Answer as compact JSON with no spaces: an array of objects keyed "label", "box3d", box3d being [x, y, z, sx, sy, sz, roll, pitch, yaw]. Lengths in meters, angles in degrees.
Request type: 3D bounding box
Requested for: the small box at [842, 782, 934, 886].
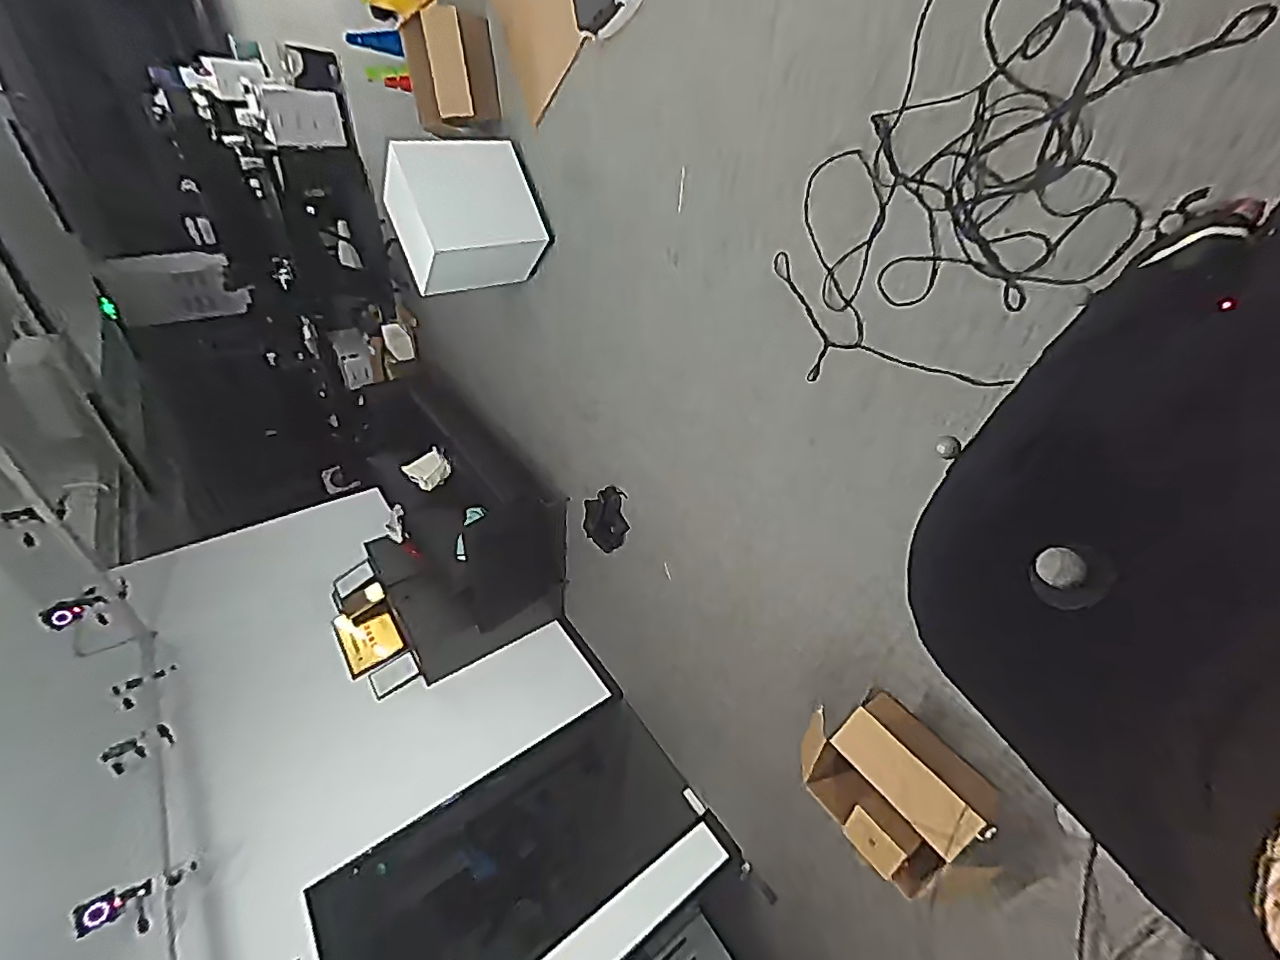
[{"label":"small box","box3d":[0.747,1.062,1.629,0.168,0.176,0.179,41,137,41]}]
